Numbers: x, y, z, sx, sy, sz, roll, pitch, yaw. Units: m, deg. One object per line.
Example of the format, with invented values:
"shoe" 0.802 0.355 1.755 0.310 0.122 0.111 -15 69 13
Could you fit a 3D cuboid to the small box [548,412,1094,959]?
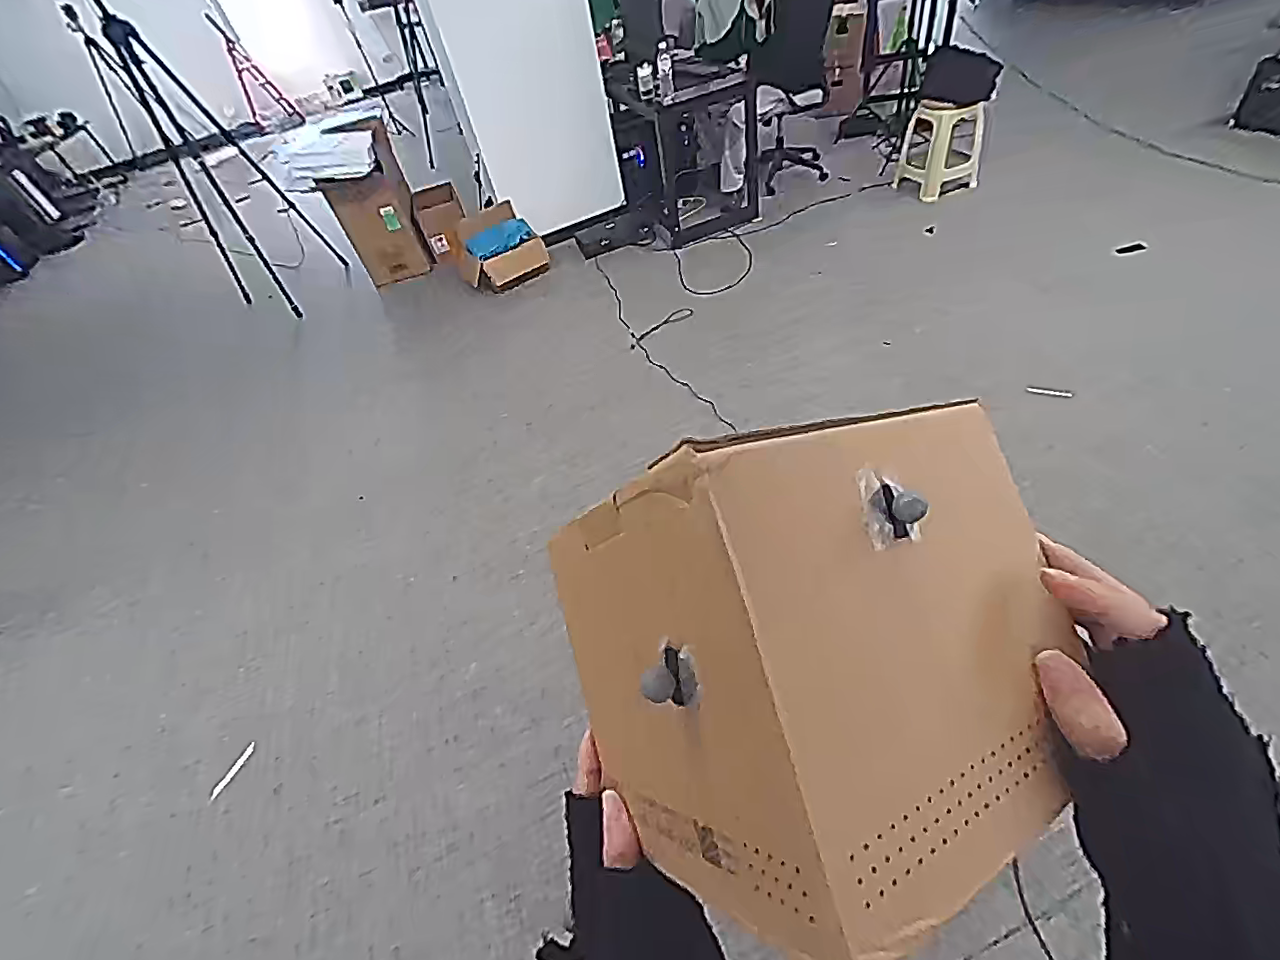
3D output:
"small box" 0.075 0.083 0.273 0.179 0.168 0.176 -10 78 -29
